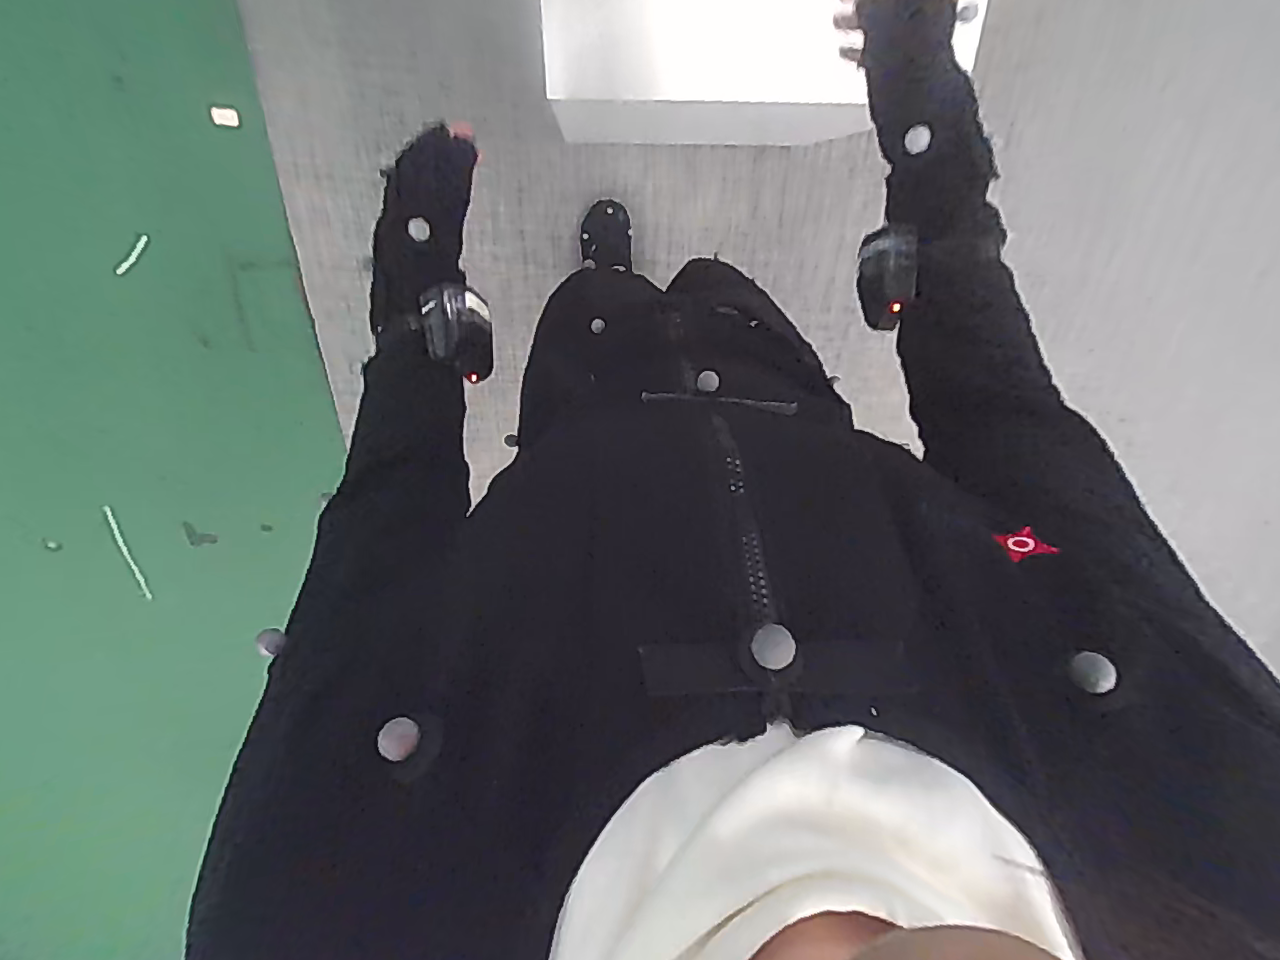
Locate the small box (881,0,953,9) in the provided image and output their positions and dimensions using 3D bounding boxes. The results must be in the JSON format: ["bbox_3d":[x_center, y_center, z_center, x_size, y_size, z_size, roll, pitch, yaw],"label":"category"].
[{"bbox_3d":[0.283,-0.583,0.499,0.168,0.176,0.179,2,116,-5],"label":"small box"}]
